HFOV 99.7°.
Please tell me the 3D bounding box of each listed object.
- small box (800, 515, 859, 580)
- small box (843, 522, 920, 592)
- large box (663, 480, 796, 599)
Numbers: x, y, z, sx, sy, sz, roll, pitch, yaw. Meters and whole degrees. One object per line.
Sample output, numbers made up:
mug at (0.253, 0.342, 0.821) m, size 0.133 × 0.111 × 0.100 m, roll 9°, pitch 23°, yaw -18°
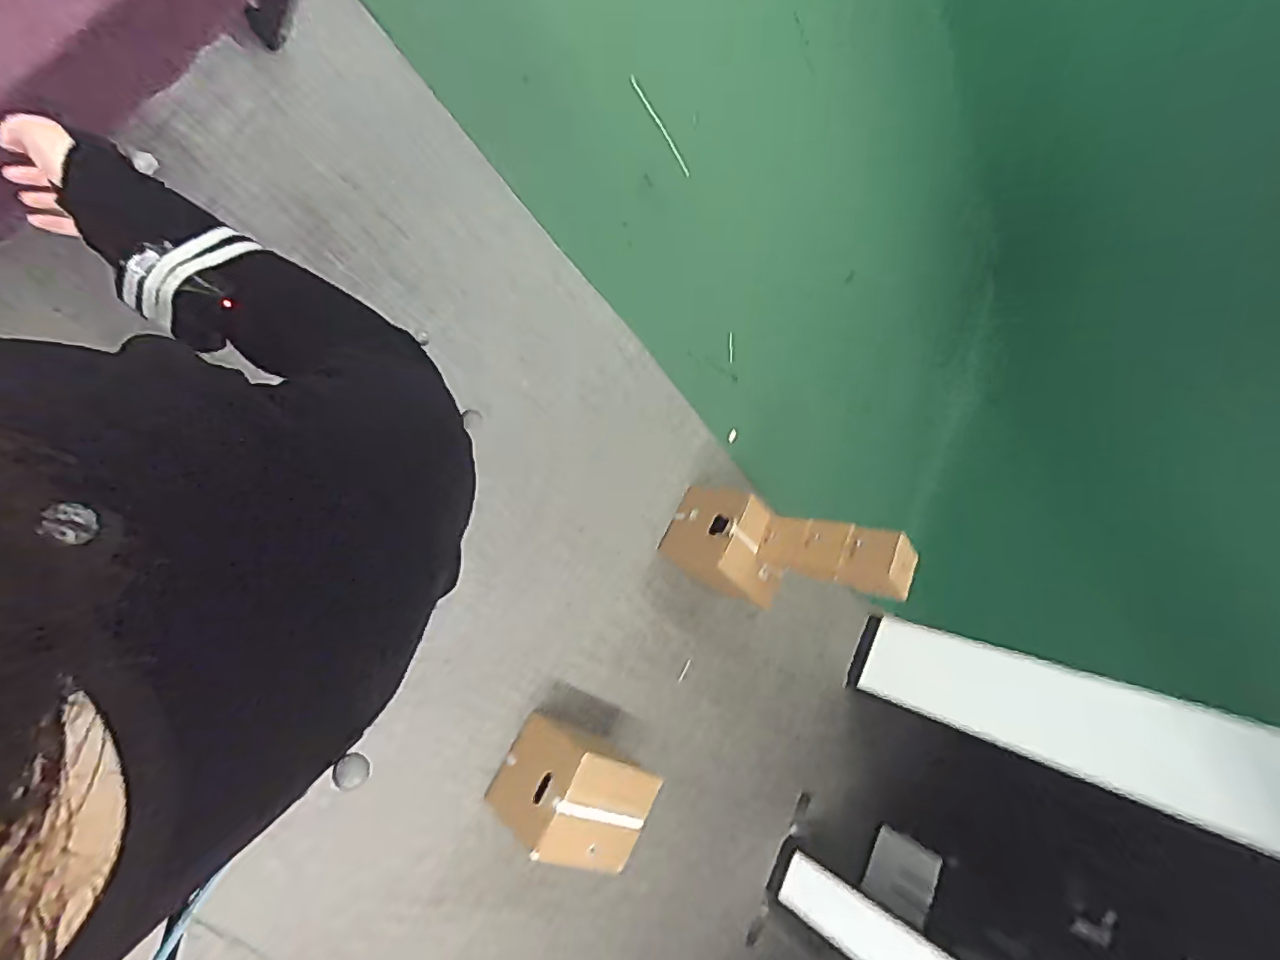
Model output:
small box at (0.707, 0.237, 1.950) m, size 0.179 × 0.176 × 0.168 m, roll 41°, pitch 67°, yaw -36°
small box at (0.819, 0.256, 1.833) m, size 0.179 × 0.176 × 0.168 m, roll 43°, pitch 65°, yaw -35°
large box at (0.366, 0.236, 2.196) m, size 0.408 × 0.320 × 0.320 m, roll 42°, pitch 69°, yaw -38°
